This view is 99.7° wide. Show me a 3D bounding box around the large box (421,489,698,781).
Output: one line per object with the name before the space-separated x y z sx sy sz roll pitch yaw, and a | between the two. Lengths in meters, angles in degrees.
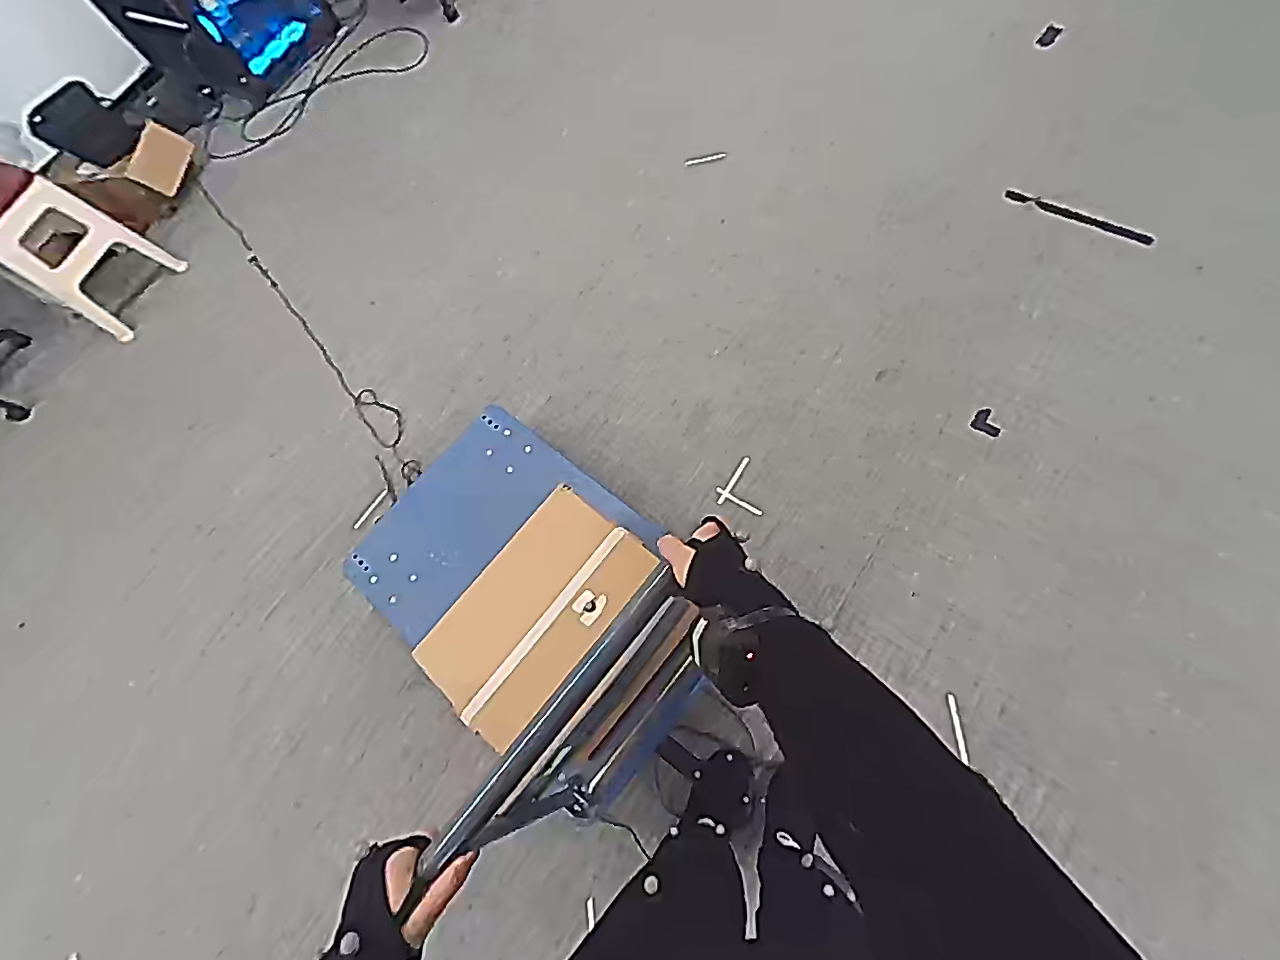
large box | -0.130 0.302 1.074 0.320 0.320 0.408 36 78 20
